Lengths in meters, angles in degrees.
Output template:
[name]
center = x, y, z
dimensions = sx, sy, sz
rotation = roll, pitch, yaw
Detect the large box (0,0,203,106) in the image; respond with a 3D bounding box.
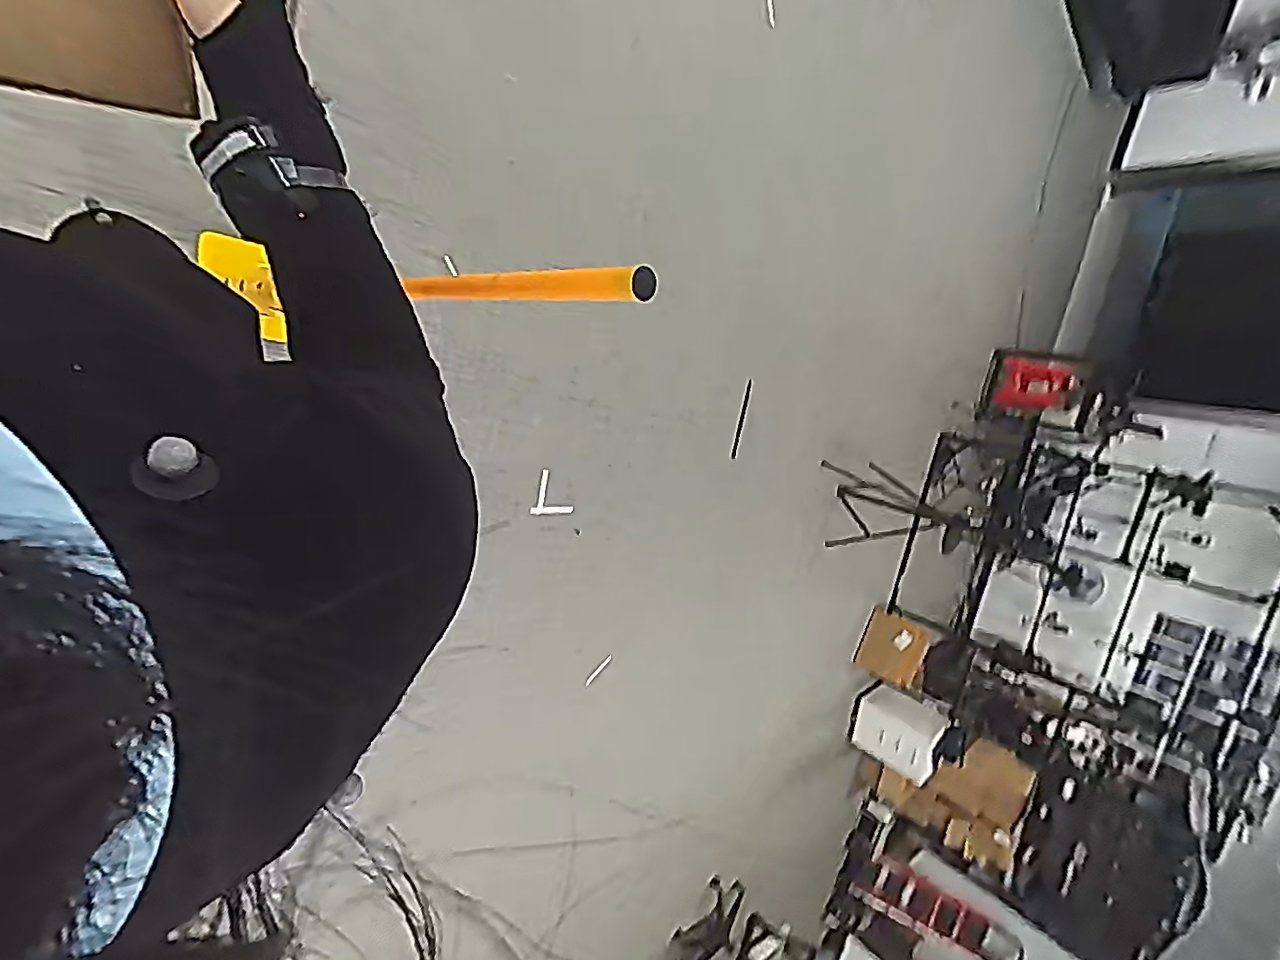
[large box]
center = -0.538, -0.442, 0.303
dimensions = 0.408, 0.320, 0.320
rotation = -12, 123, -40
